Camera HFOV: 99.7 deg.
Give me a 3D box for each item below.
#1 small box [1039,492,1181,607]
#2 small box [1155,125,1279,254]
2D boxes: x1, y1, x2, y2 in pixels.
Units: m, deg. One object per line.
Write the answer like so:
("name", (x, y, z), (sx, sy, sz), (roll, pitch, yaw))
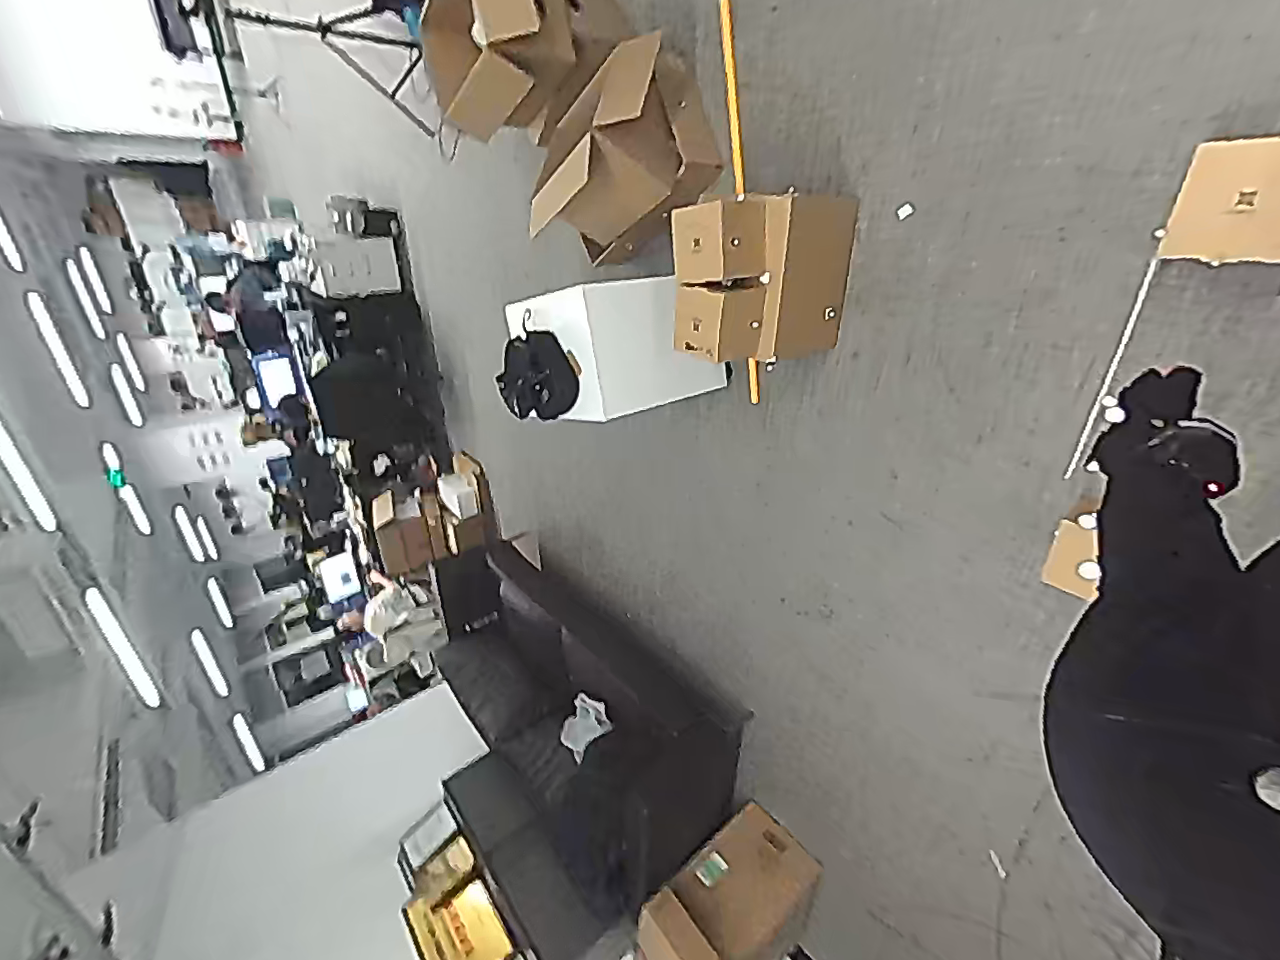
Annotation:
("small box", (1.029, 0.142, 1.188), (0.179, 0.176, 0.168), (27, 129, 44))
("small box", (1.003, -0.475, 0.890), (0.168, 0.176, 0.179), (27, 129, 43))
